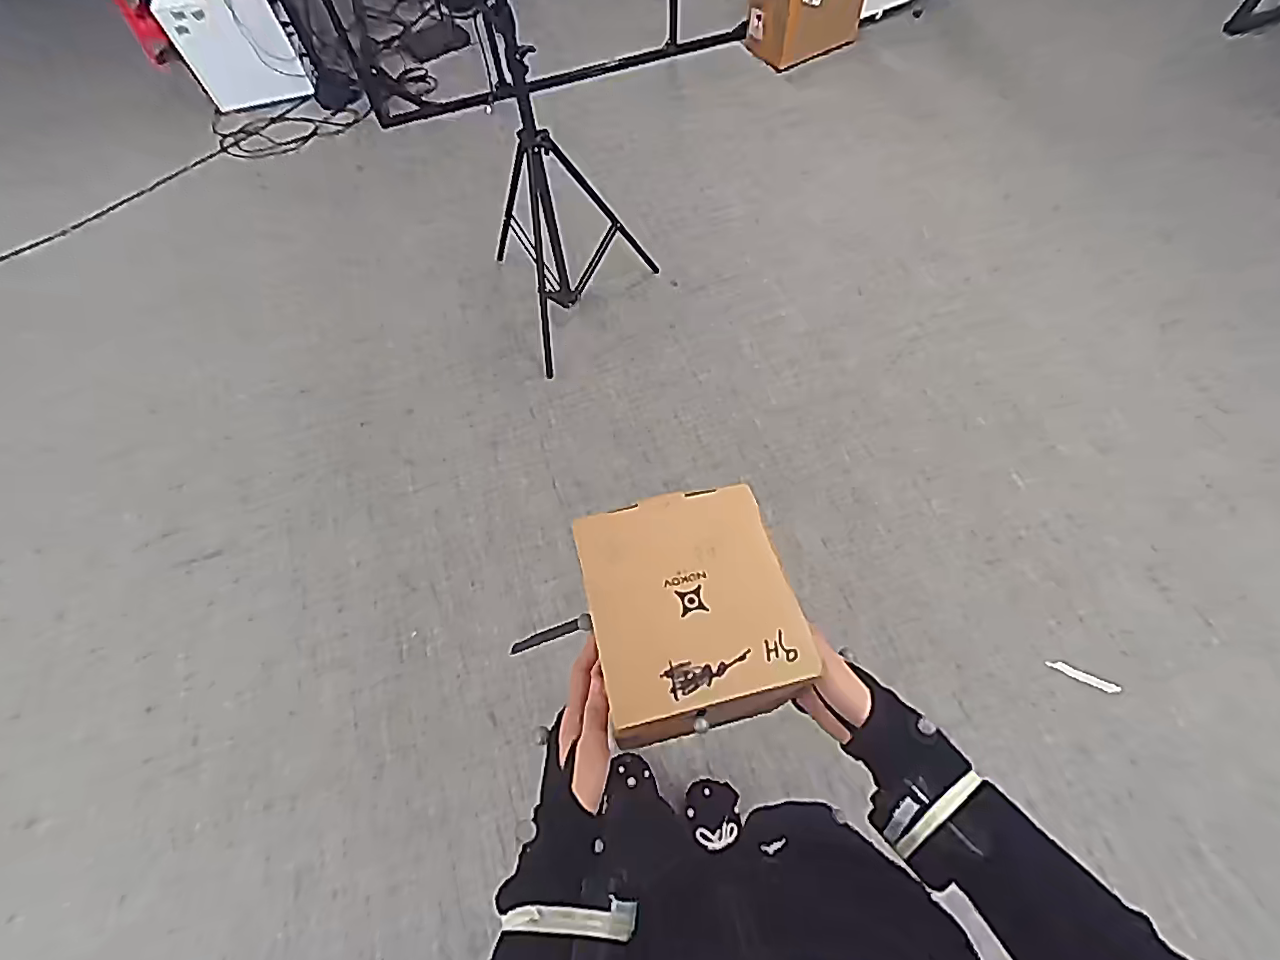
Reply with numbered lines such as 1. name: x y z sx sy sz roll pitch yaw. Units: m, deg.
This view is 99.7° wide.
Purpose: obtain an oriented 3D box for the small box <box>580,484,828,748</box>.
1. small box: 0.042 0.131 0.505 0.168 0.176 0.179 -12 59 -8
